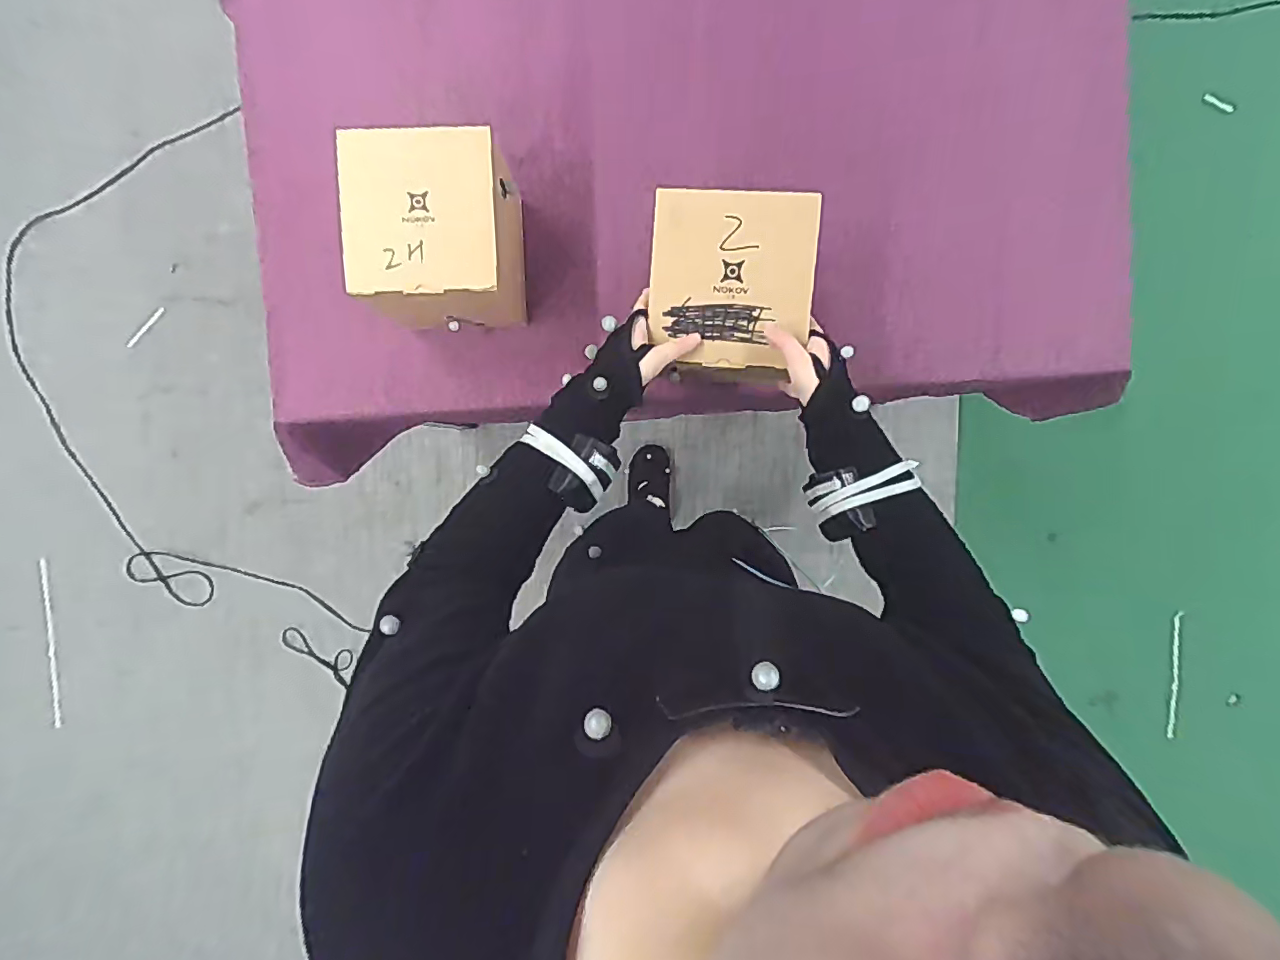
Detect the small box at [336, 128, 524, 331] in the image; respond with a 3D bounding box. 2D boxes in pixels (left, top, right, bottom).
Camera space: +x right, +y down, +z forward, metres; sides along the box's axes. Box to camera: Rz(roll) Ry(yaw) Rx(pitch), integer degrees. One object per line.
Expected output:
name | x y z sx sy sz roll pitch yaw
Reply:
small box | -0.241 -0.291 0.658 0.168 0.176 0.179 -2 93 0
